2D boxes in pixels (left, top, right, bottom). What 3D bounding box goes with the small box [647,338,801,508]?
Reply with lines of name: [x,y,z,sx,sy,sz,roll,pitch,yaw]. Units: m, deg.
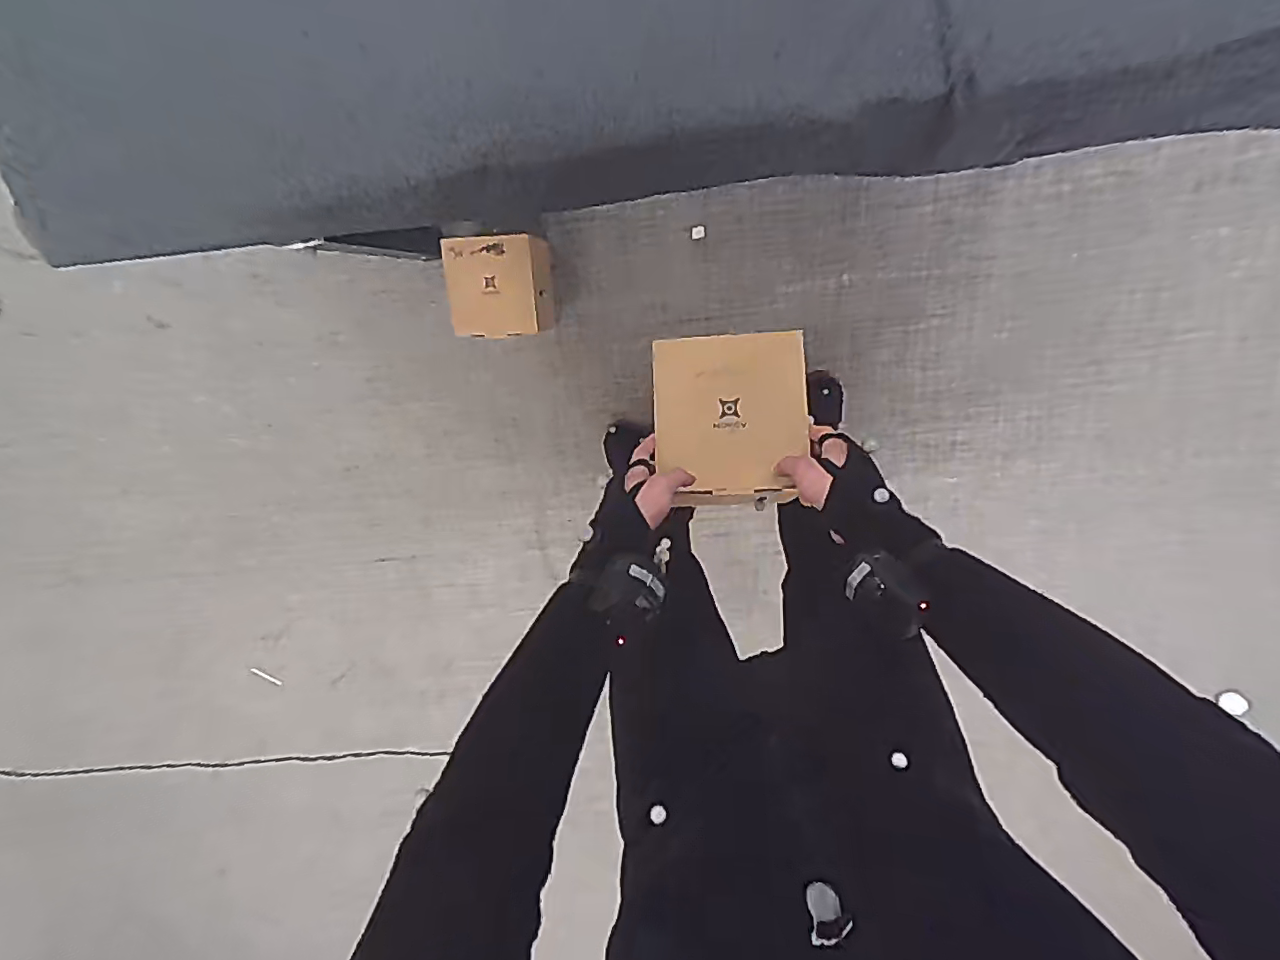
small box: [0.100,-0.057,0.663,0.168,0.176,0.179,-2,81,7]
